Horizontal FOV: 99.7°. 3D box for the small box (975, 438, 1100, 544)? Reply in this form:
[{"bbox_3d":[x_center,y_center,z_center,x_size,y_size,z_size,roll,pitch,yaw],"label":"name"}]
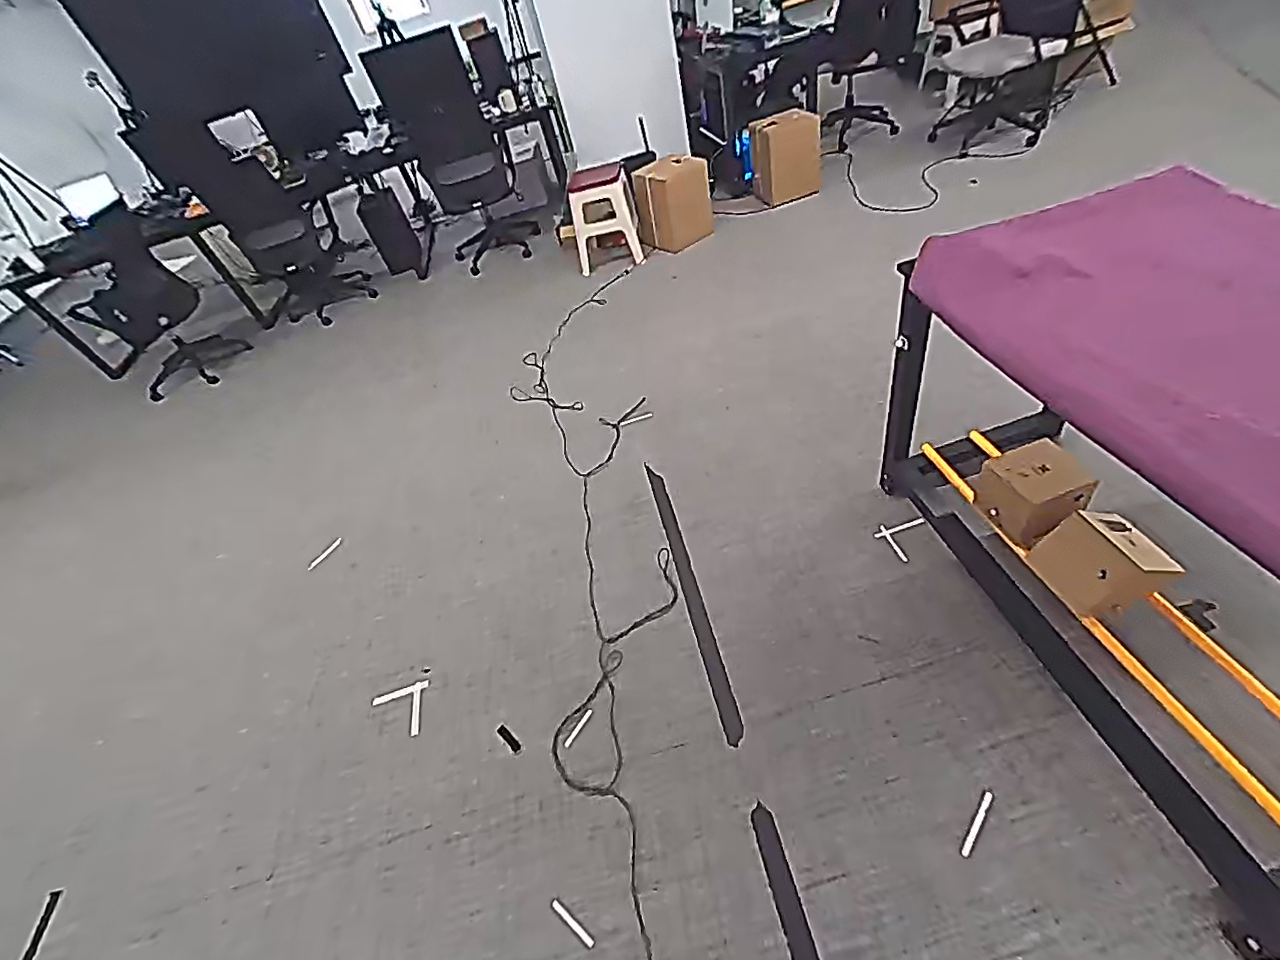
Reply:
[{"bbox_3d":[0.985,0.030,1.359,0.179,0.176,0.168,-21,44,0],"label":"small box"}]
